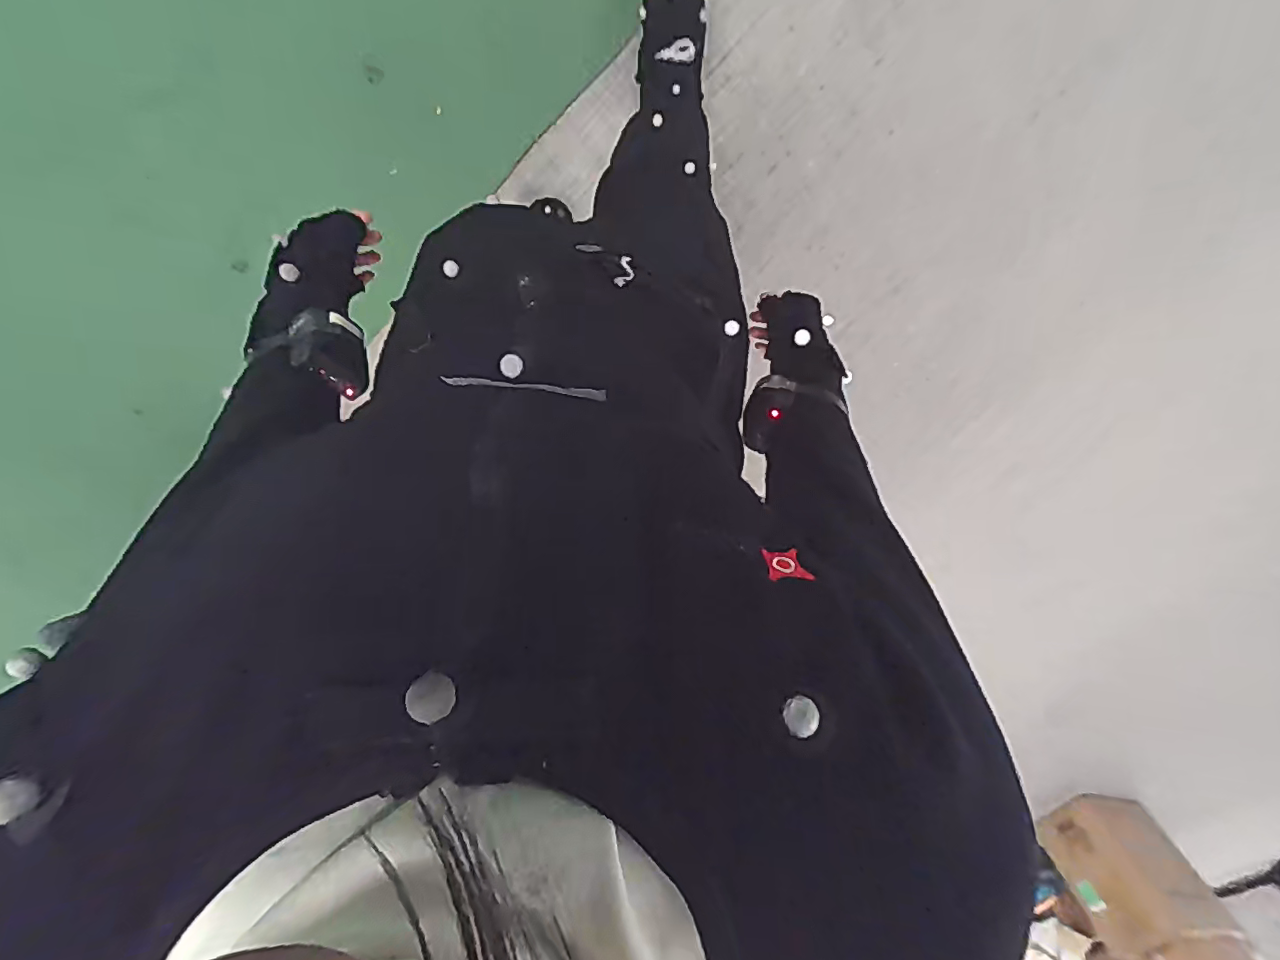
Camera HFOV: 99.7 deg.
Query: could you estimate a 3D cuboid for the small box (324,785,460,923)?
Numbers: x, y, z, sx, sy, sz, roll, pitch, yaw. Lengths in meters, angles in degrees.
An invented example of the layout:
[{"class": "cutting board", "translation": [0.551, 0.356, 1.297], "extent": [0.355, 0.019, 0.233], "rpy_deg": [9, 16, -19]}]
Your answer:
[{"class": "small box", "translation": [-0.489, 0.754, 1.093], "extent": [0.179, 0.176, 0.168], "rpy_deg": [-38, 121, 20]}]
